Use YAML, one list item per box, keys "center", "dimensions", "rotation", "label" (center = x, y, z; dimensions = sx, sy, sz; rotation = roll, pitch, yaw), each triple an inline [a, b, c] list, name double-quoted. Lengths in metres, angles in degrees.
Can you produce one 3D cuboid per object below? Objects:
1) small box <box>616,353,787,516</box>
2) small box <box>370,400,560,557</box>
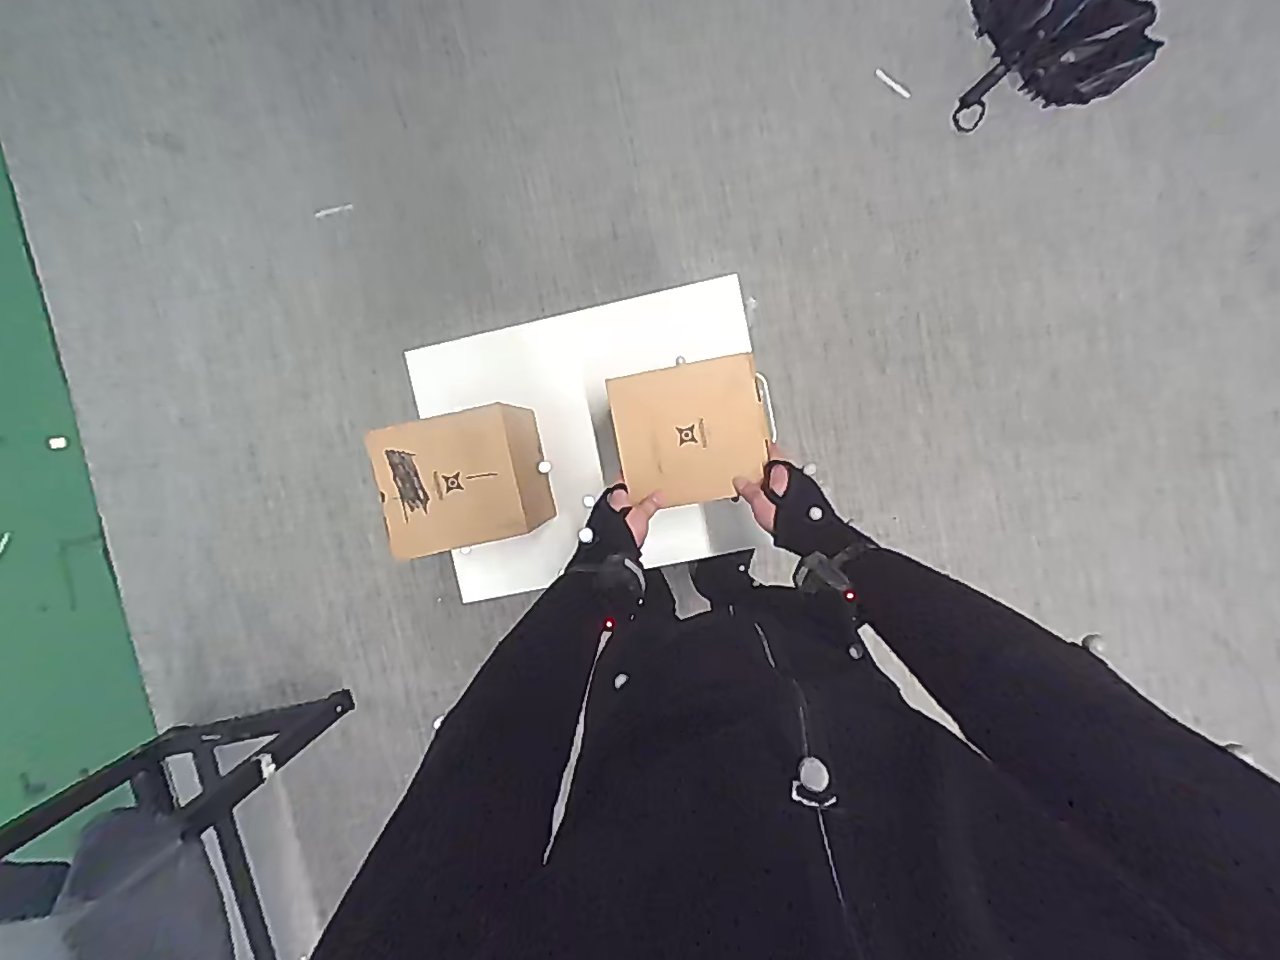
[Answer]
- center: [0.077, -0.057, 0.701]
  dimensions: [0.179, 0.176, 0.168]
  rotation: [-11, 93, 6]
  label: "small box"
- center: [-0.220, -0.005, 0.722]
  dimensions: [0.179, 0.176, 0.168]
  rotation: [-11, 94, 3]
  label: "small box"
